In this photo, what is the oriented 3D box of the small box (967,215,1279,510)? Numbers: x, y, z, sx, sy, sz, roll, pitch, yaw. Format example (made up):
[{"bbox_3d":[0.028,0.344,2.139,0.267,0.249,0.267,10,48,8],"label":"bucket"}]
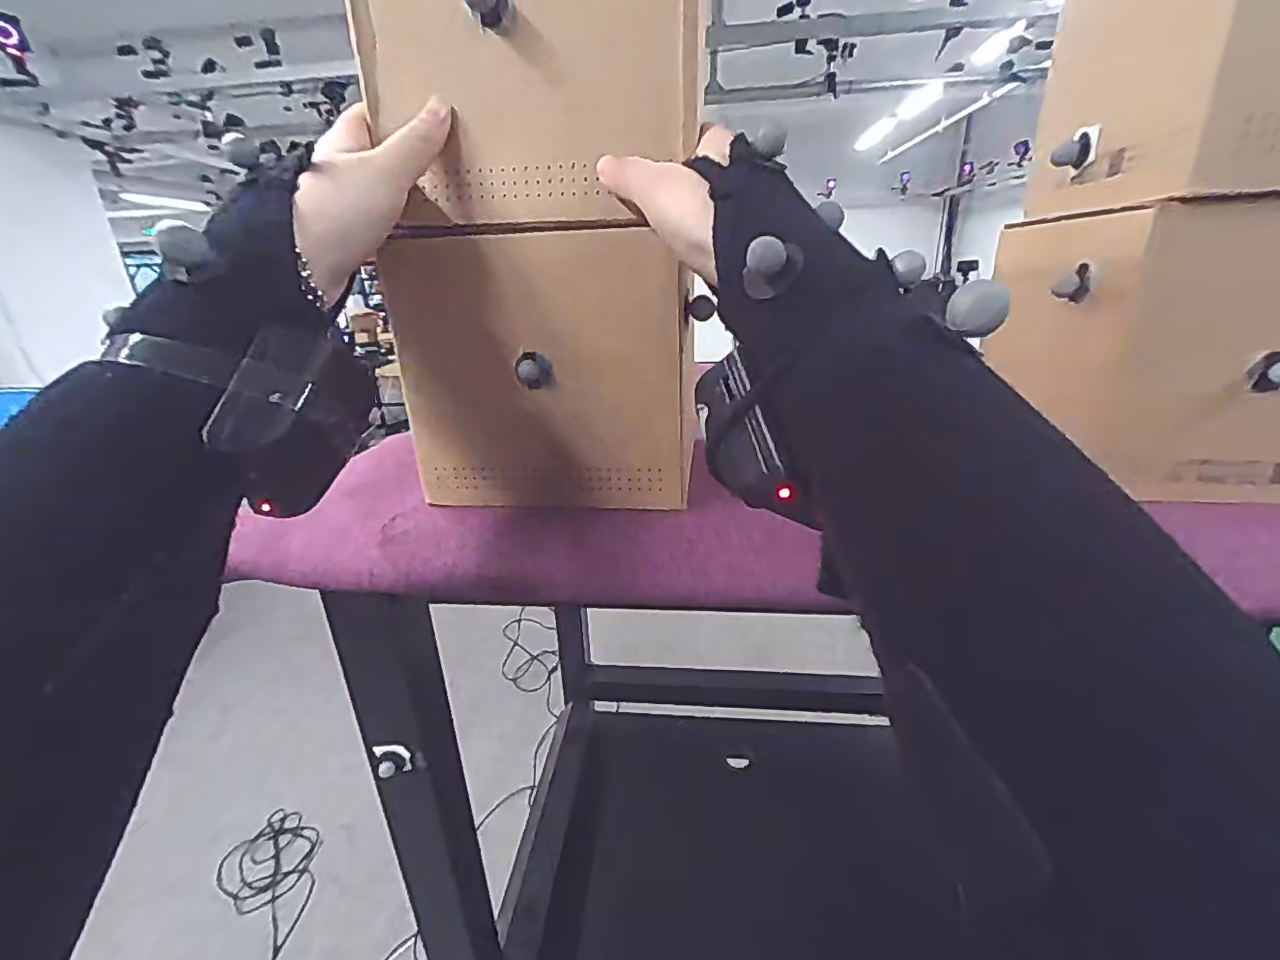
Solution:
[{"bbox_3d":[0.358,-0.087,0.374,0.168,0.176,0.179,2,21,8],"label":"small box"}]

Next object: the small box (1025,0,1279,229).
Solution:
[{"bbox_3d":[0.362,-0.234,0.303,0.179,0.176,0.168,0,20,9],"label":"small box"}]

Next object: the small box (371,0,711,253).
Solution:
[{"bbox_3d":[-0.045,-0.236,0.336,0.179,0.176,0.168,1,22,6],"label":"small box"}]
